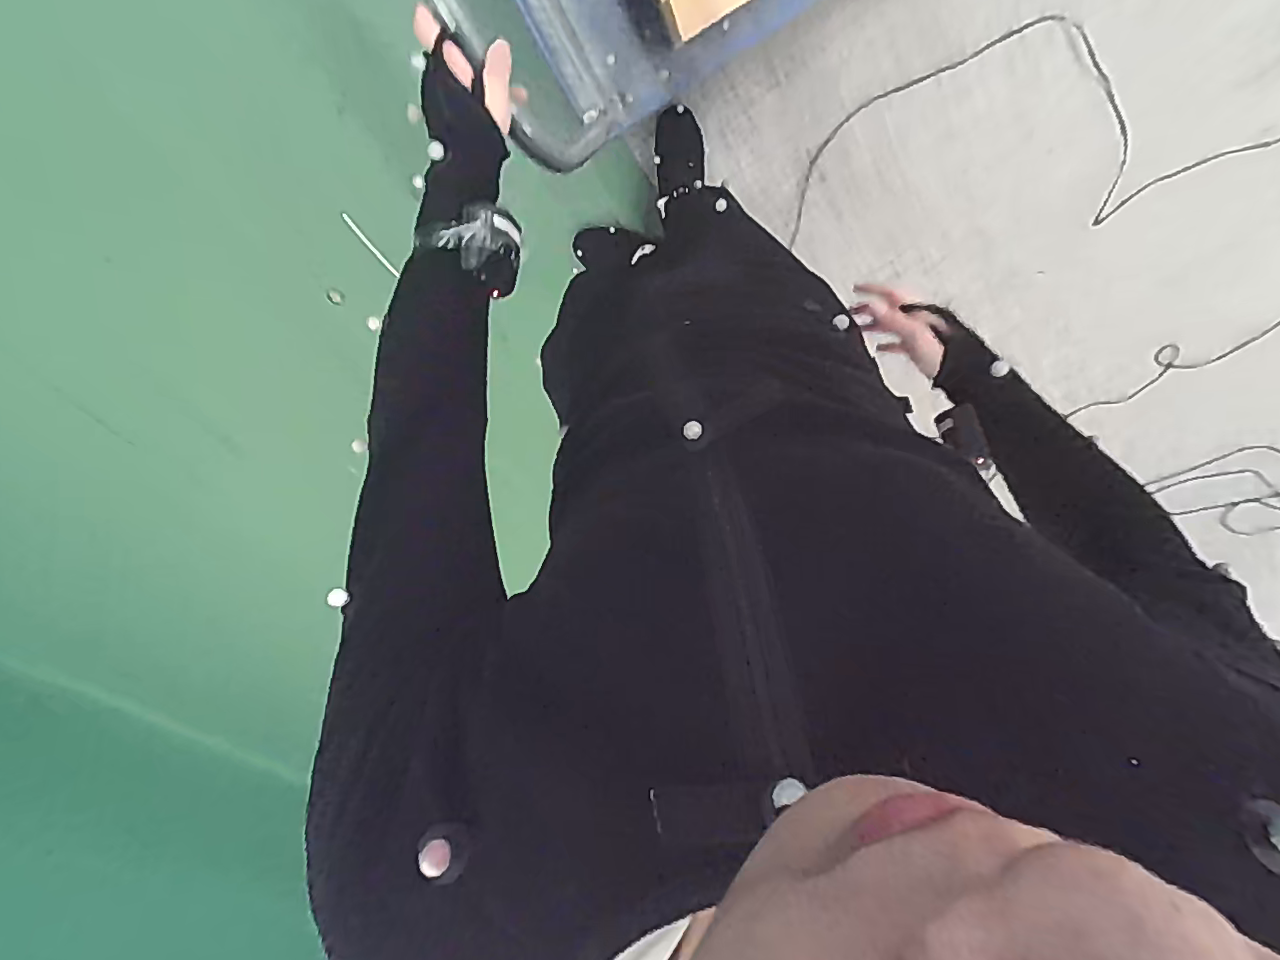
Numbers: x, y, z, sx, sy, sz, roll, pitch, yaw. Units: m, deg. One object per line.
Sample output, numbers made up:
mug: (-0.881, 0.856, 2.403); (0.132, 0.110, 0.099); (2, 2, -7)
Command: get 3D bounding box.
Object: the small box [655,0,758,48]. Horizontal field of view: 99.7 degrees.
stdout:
small box: (0.107, -0.853, 0.890); (0.179, 0.176, 0.168); (-23, 124, 15)
